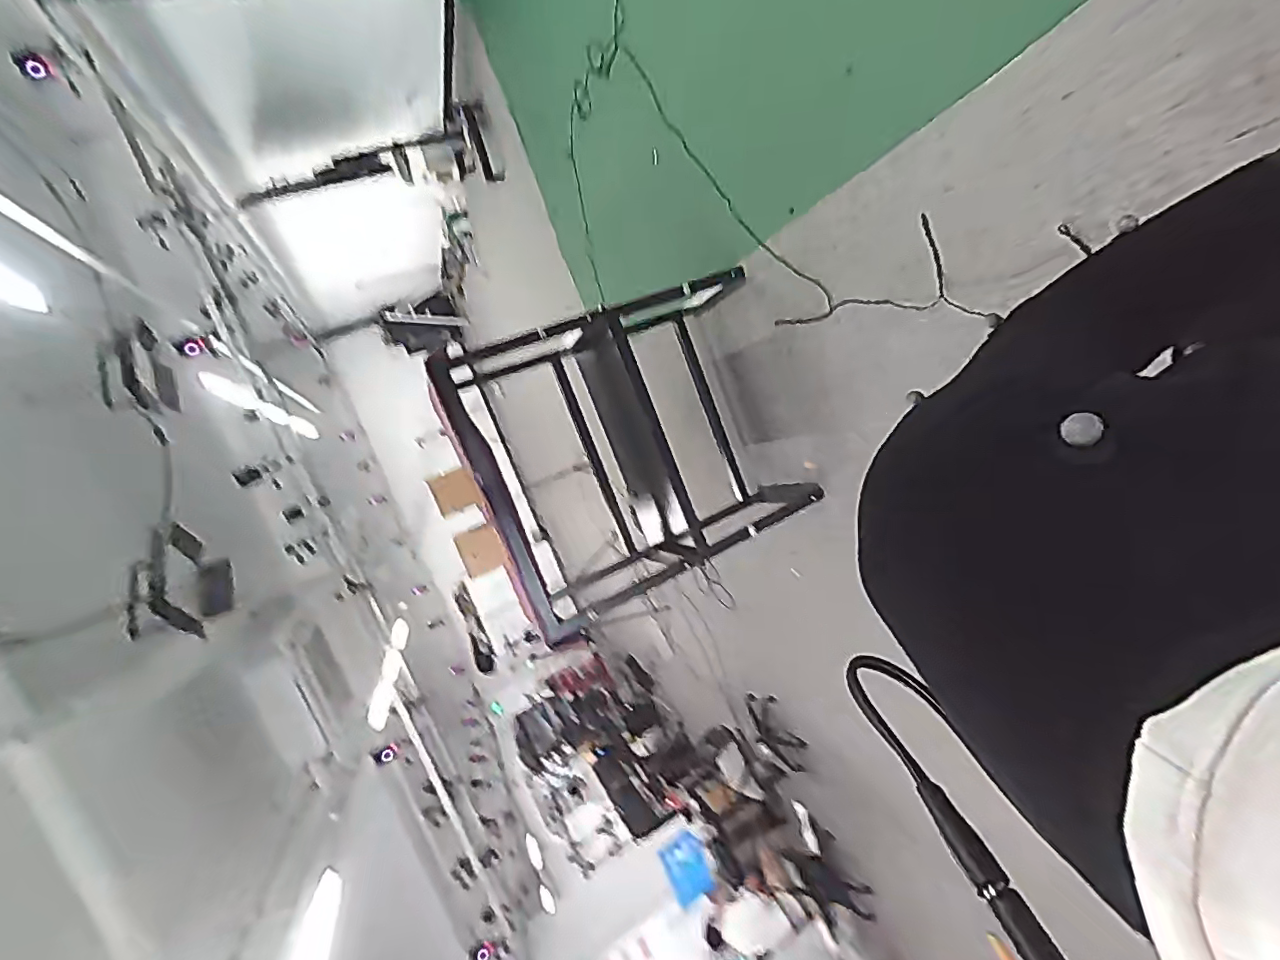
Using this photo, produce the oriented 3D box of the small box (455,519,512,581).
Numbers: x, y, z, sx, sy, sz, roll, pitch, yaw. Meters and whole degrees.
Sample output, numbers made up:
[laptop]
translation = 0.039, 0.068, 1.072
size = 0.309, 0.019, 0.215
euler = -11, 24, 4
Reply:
[small box]
translation = -0.622, 0.275, 2.150
size = 0.168, 0.176, 0.179
euler = 5, 116, 69
